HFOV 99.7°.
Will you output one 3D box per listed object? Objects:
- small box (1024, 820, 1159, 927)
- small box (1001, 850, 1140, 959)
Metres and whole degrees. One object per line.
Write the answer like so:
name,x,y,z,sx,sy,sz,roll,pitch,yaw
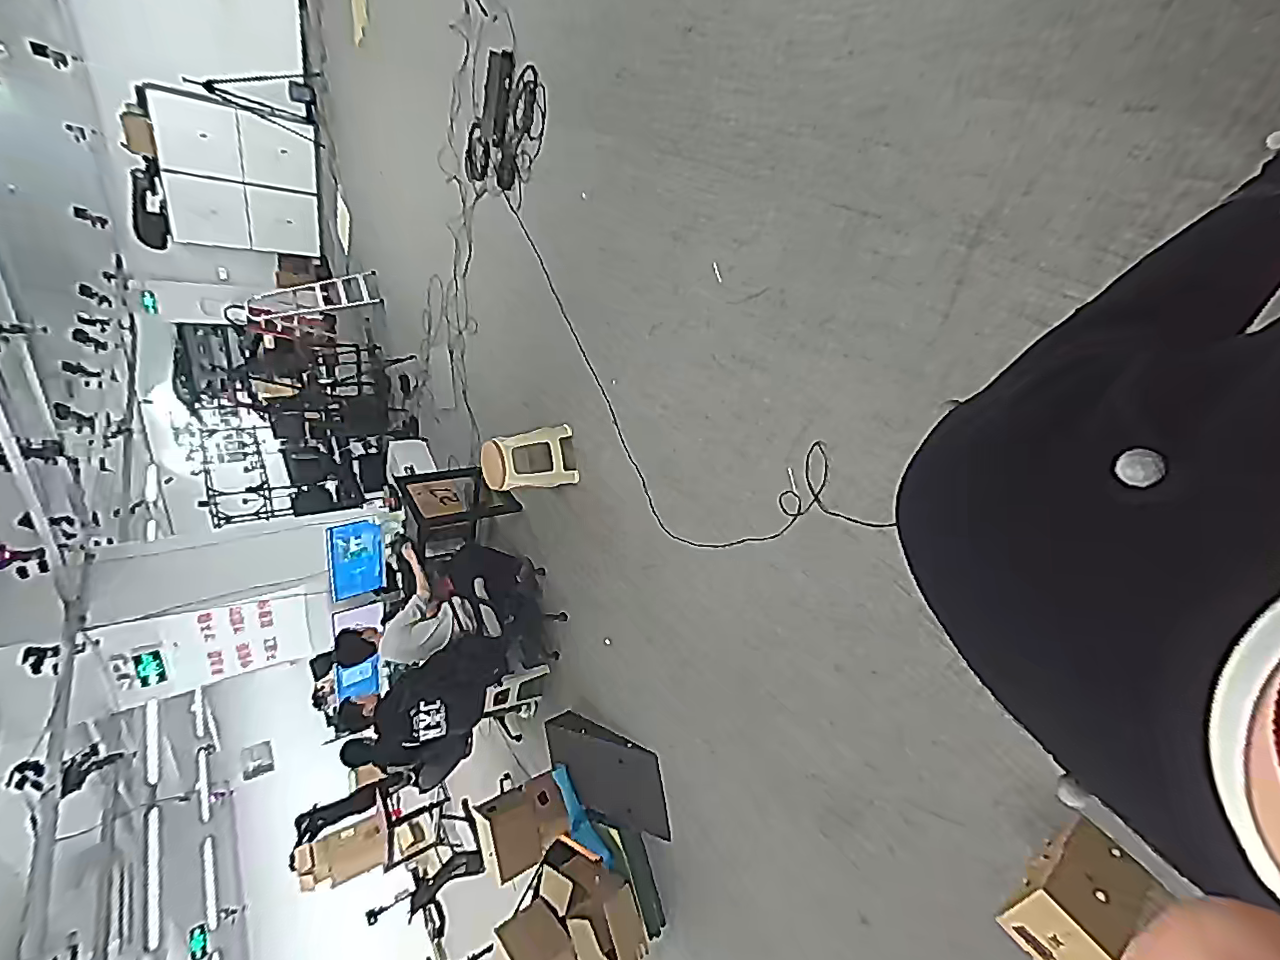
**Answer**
small box,1.113,0.980,1.334,0.179,0.176,0.168,46,133,37
small box,0.983,0.999,1.233,0.168,0.176,0.179,44,131,37
